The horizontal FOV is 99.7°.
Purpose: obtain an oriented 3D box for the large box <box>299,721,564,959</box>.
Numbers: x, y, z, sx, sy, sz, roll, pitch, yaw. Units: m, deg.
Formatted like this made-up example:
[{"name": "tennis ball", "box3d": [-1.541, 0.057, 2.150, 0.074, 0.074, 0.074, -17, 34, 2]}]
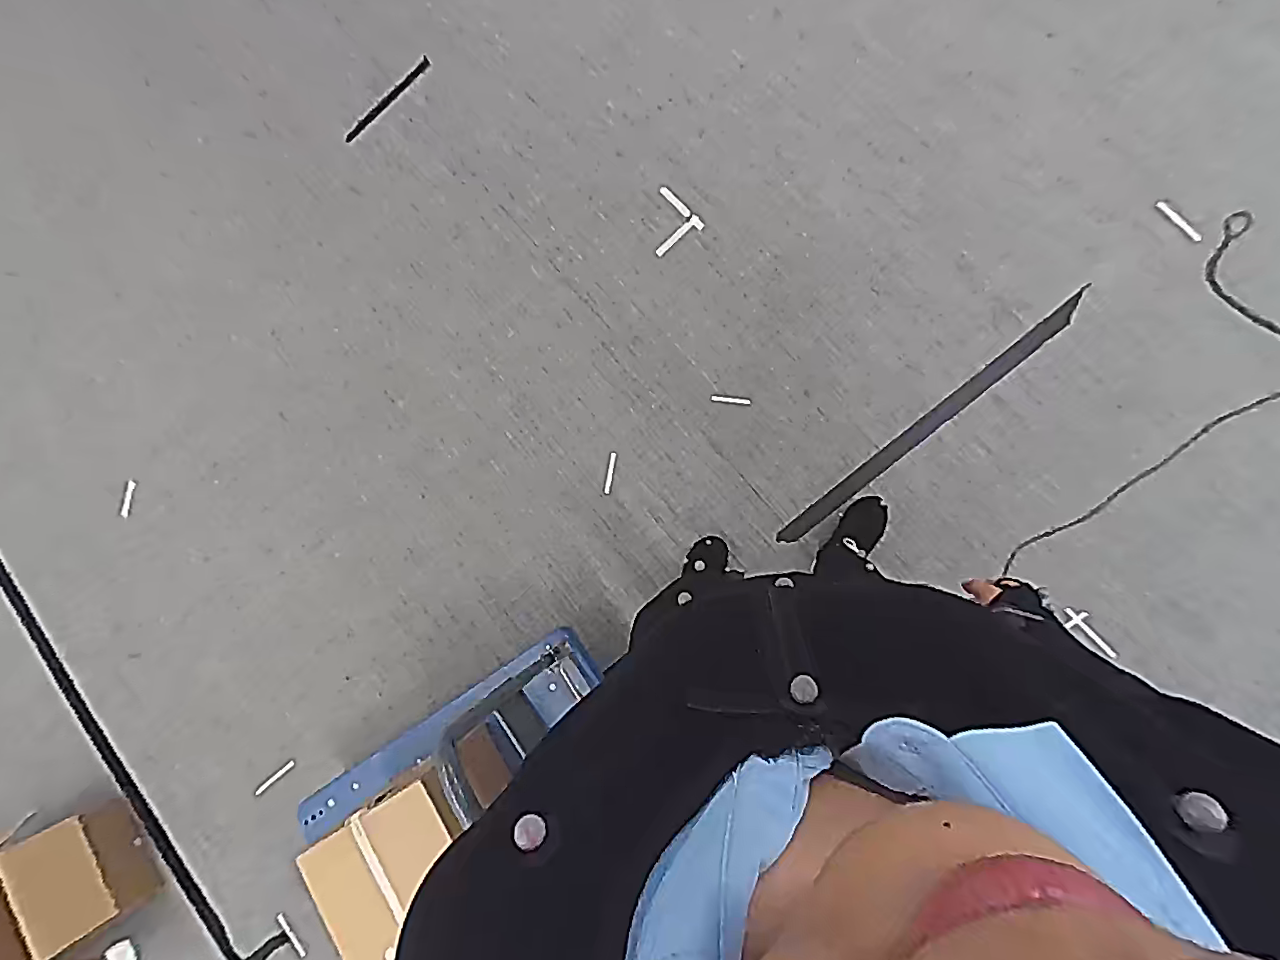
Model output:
[{"name": "large box", "box3d": [-0.427, 0.830, 1.183, 0.320, 0.320, 0.408, -33, 83, 4]}]
